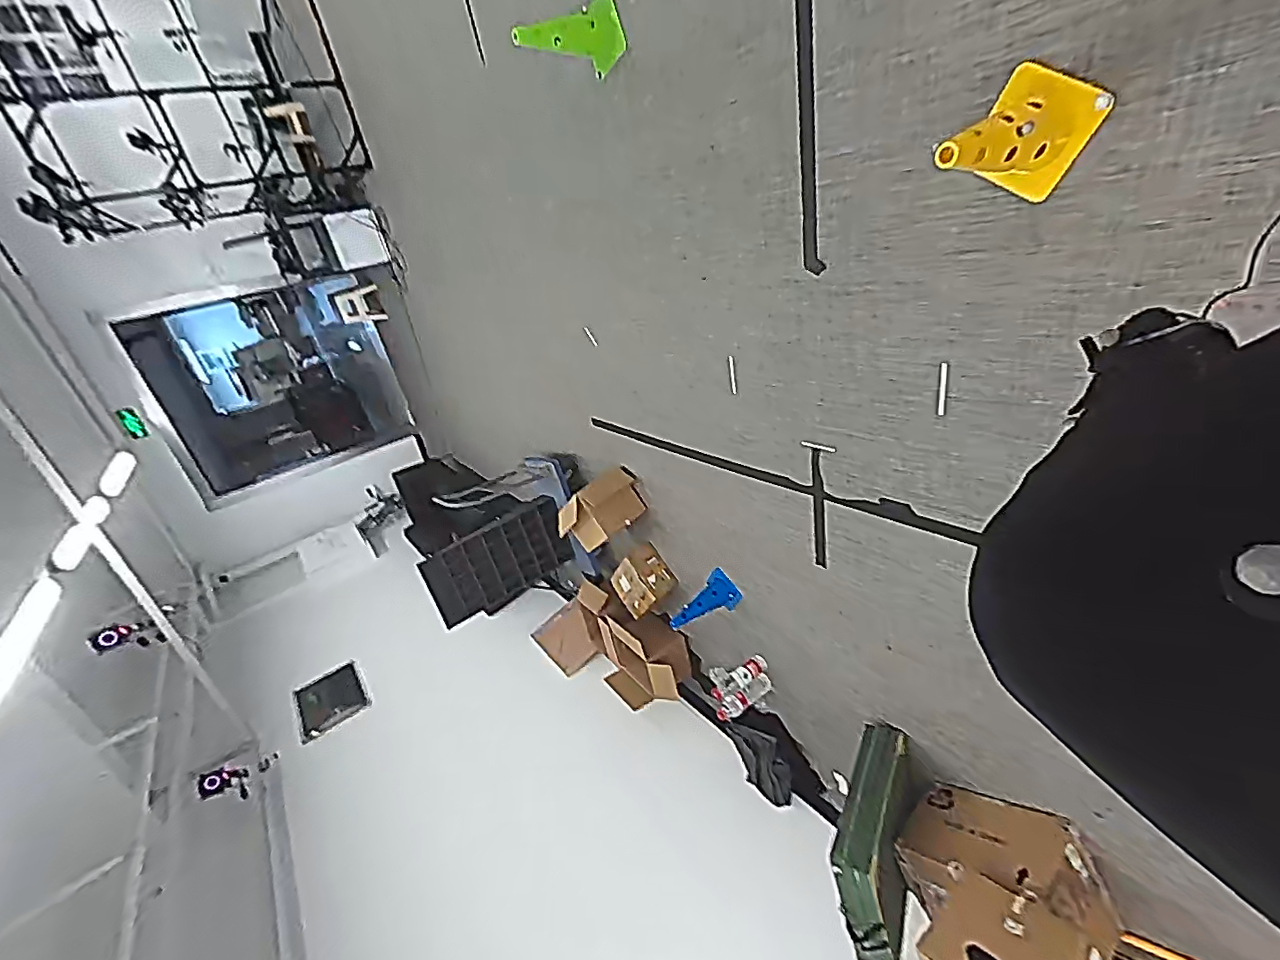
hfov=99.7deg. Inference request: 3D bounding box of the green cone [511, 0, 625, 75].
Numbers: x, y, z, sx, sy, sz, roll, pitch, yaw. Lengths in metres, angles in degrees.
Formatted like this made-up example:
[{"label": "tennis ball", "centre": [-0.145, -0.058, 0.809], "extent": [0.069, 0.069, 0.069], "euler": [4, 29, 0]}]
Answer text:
[{"label": "green cone", "centre": [-0.262, -1.515, 1.818], "extent": [0.200, 0.368, 0.202], "euler": [1, 114, 58]}]
